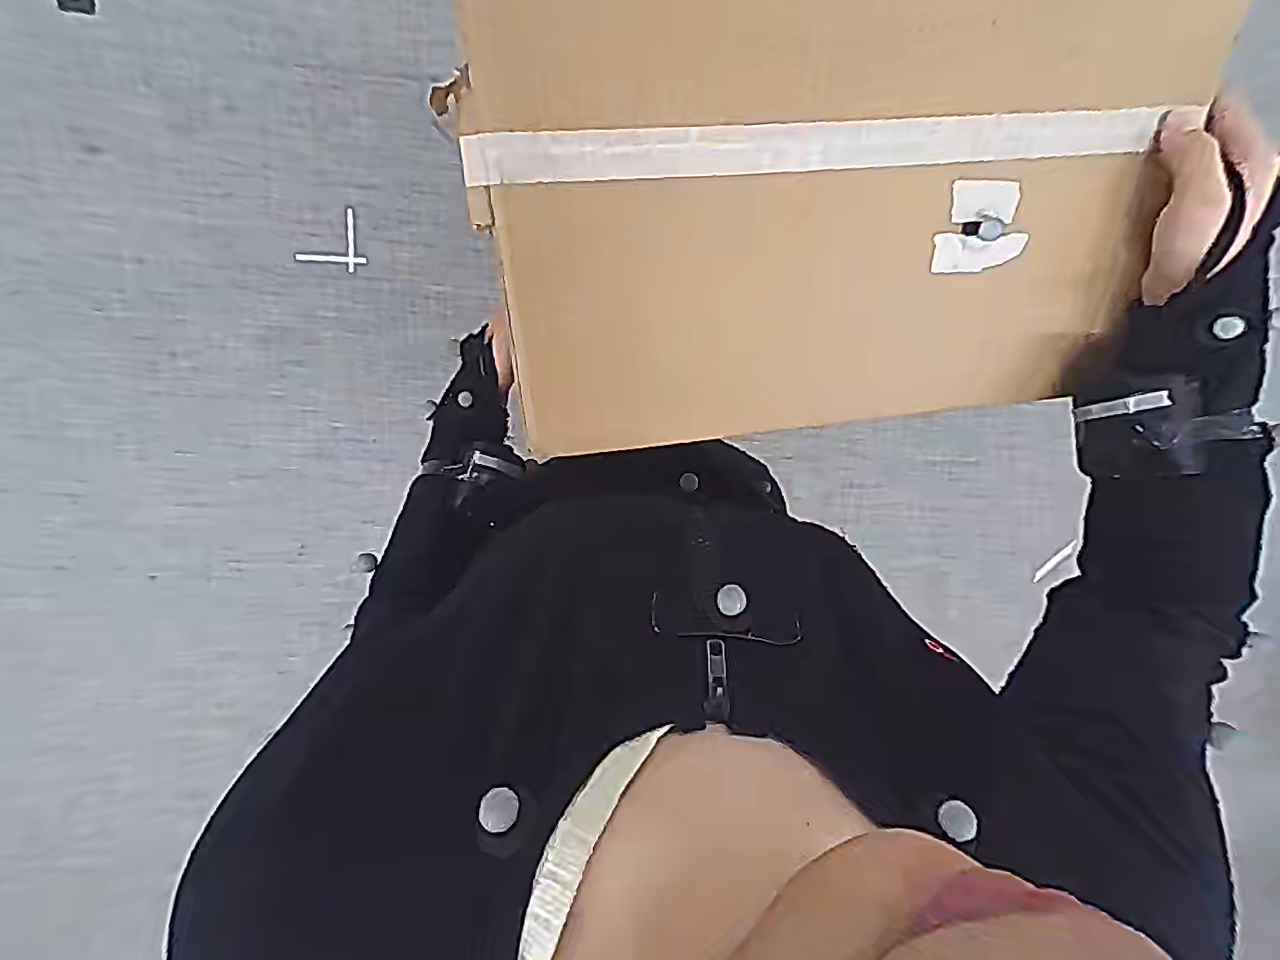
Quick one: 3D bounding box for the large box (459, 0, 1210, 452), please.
[{"bbox_3d":[0.089,-0.243,0.427,0.408,0.320,0.320,-8,117,-9],"label":"large box"}]
